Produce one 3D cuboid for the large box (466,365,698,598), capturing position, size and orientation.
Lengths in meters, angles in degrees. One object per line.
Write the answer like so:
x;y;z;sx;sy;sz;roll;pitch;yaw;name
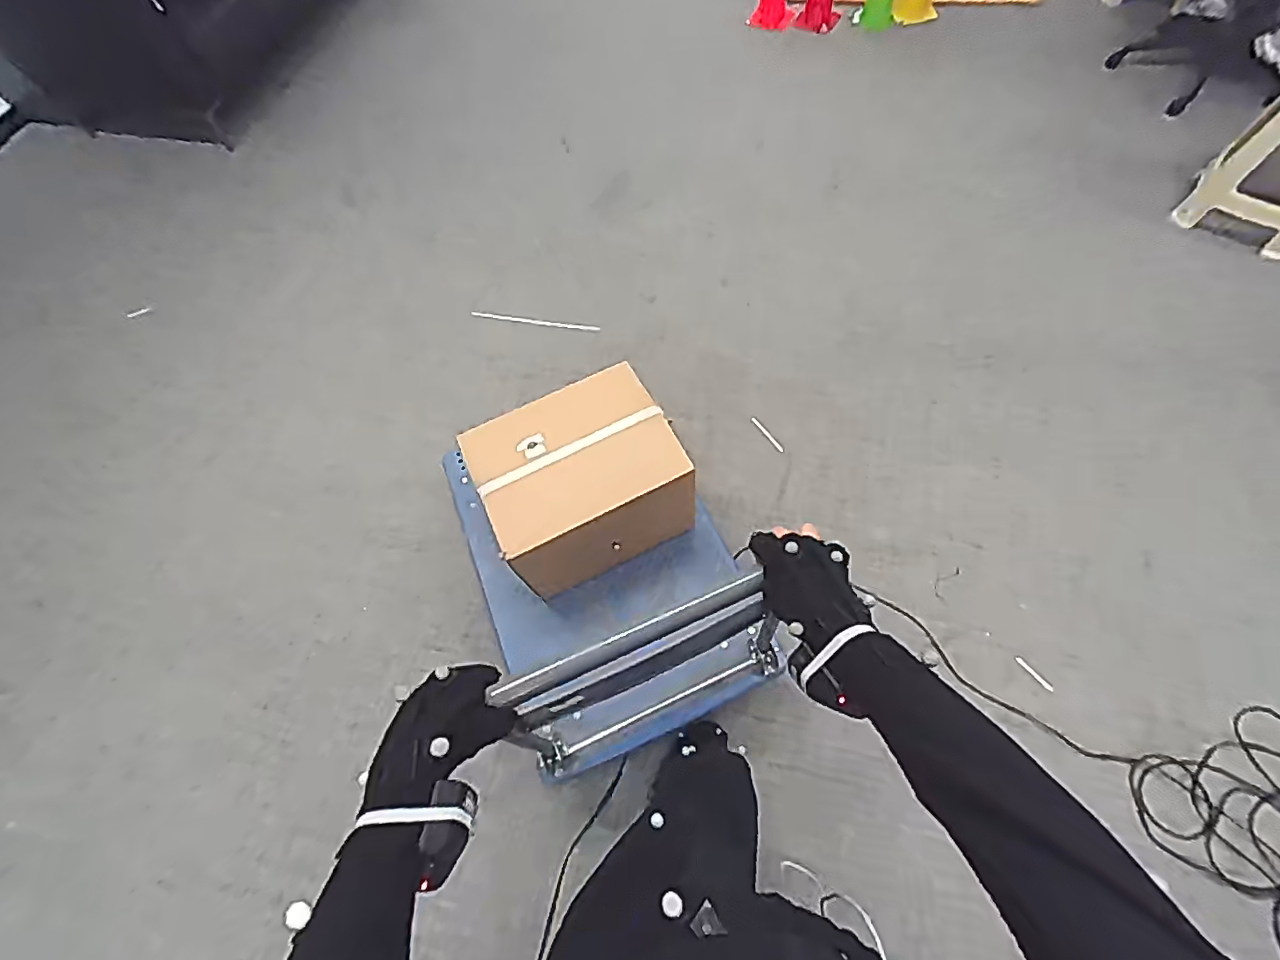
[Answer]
-0.114;0.014;1.239;0.408;0.320;0.320;-26;63;-8;large box
